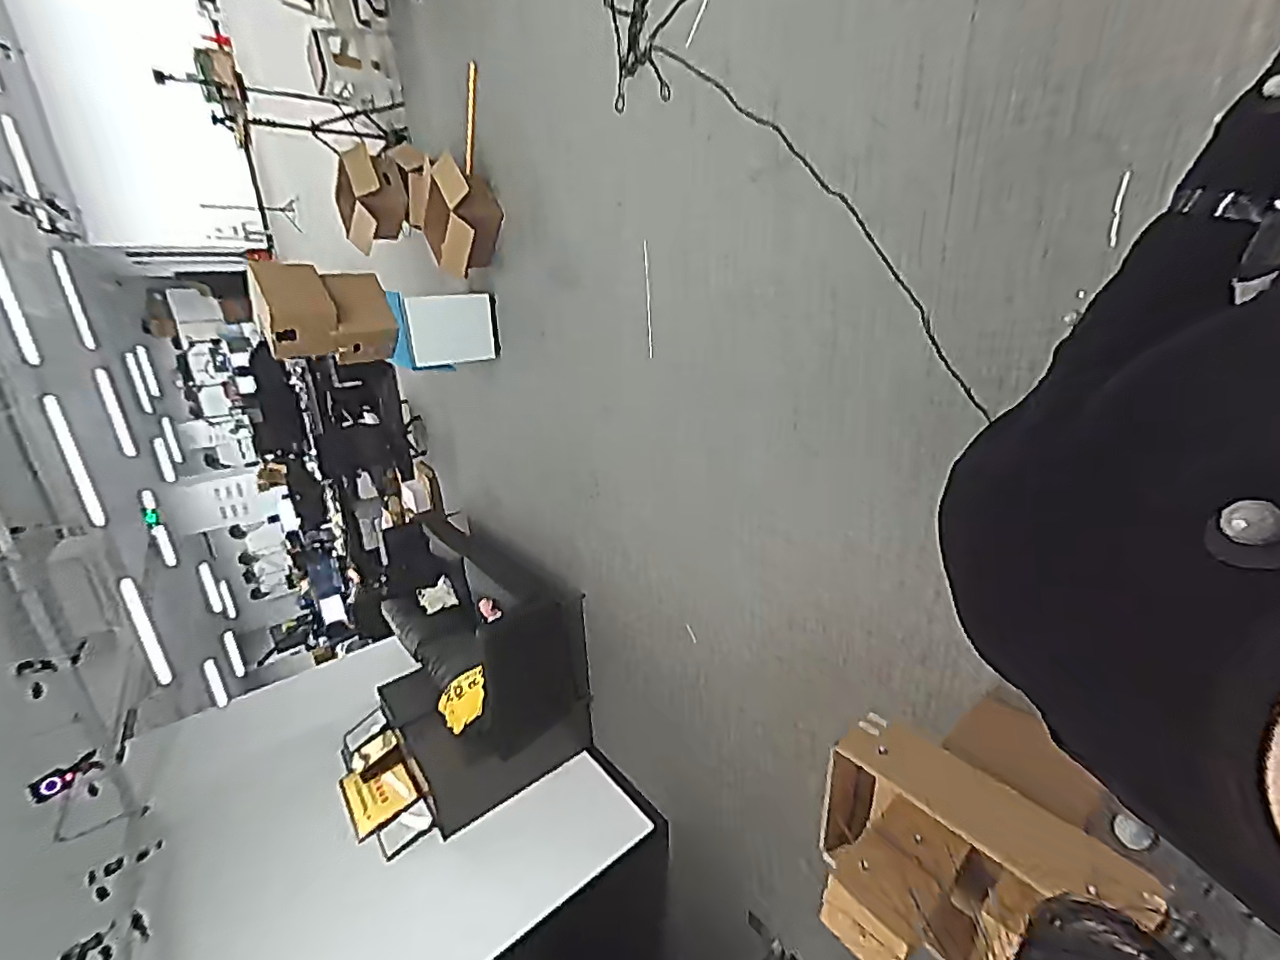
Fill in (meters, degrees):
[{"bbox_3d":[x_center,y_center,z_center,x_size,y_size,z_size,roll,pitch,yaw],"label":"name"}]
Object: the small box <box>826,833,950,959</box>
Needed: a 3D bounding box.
[{"bbox_3d":[0.544,0.928,1.194,0.179,0.176,0.168,26,125,45],"label":"small box"}]
